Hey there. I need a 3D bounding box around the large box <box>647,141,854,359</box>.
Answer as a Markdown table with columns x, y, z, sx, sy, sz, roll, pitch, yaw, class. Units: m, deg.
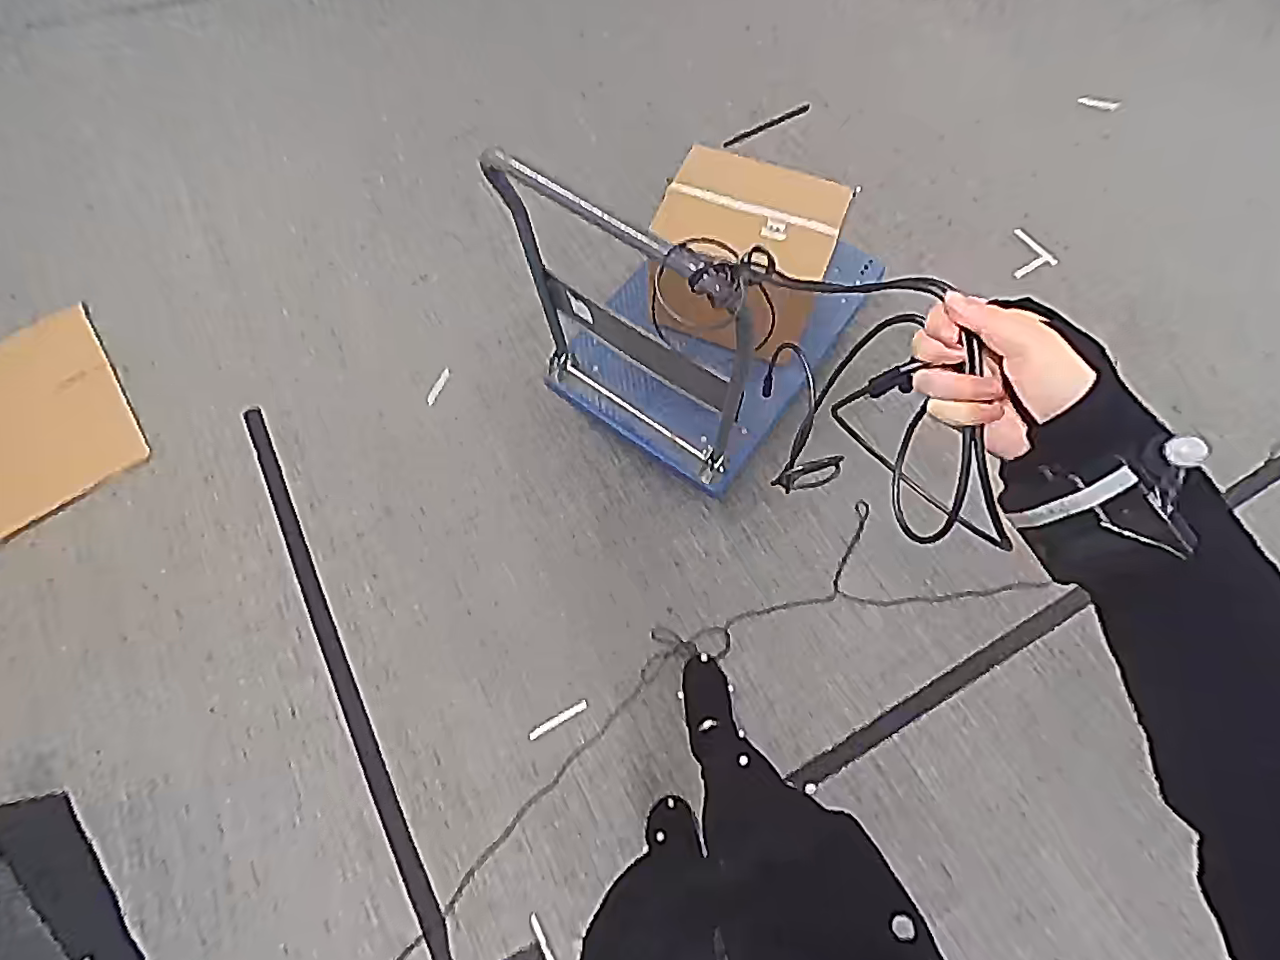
| x | y | z | sx | sy | sz | roll | pitch | yaw | class |
| --- | --- | --- | --- | --- | --- | --- | --- | --- | --- |
| 0.253 | -0.562 | 1.357 | 0.408 | 0.320 | 0.320 | 21 | 72 | 8 | large box |
